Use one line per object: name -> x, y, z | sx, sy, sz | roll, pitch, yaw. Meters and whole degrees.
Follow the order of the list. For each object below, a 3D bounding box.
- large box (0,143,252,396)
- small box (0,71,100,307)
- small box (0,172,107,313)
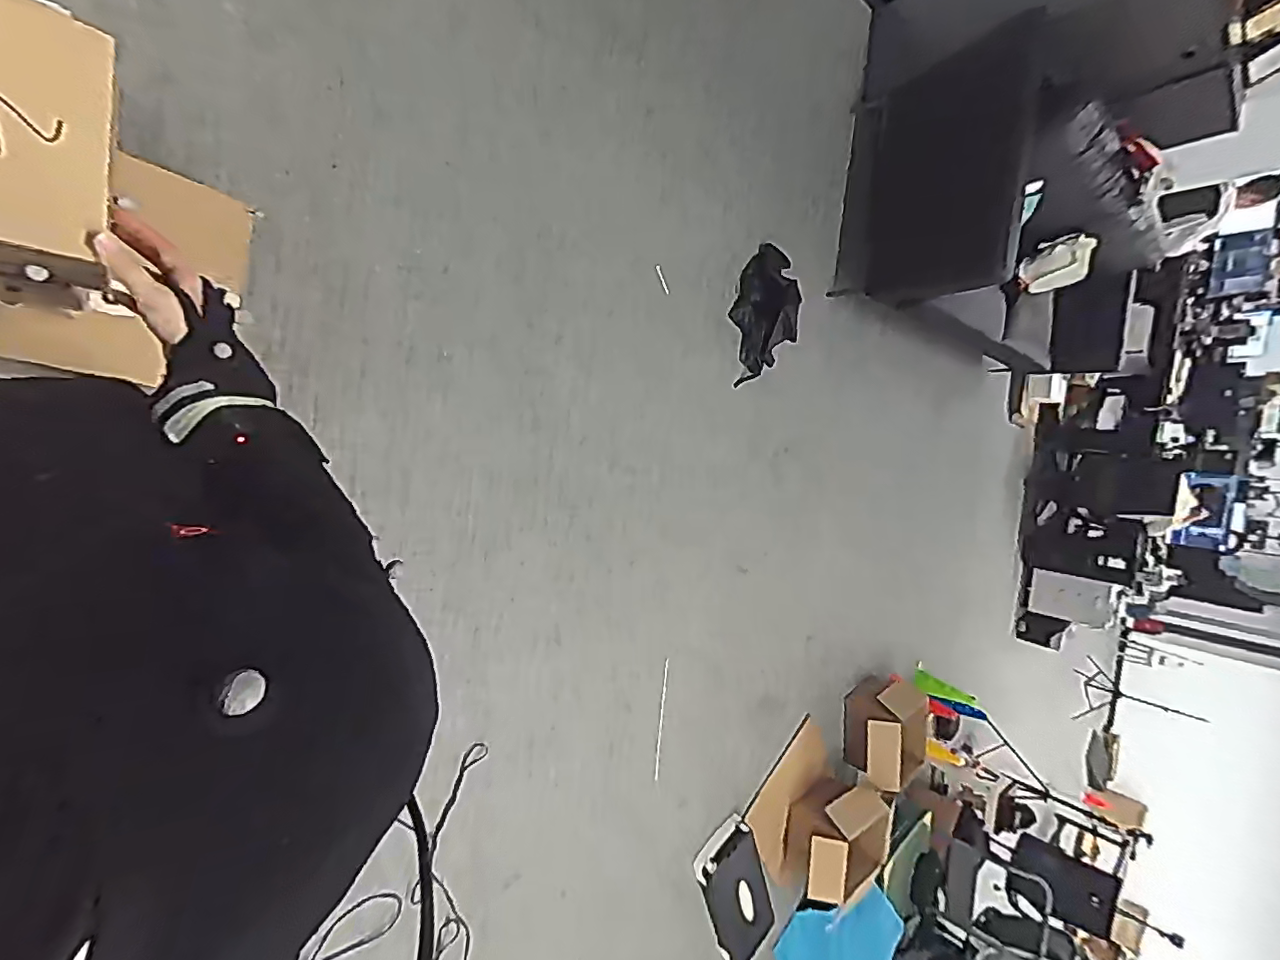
large box -> -0.880, -0.323, 0.822 | 0.408, 0.320, 0.320 | 11, 90, -43
small box -> -0.632, -0.276, 0.505 | 0.168, 0.176, 0.179 | 8, 90, -44
small box -> -0.752, -0.305, 0.613 | 0.179, 0.176, 0.168 | 19, 83, -42
